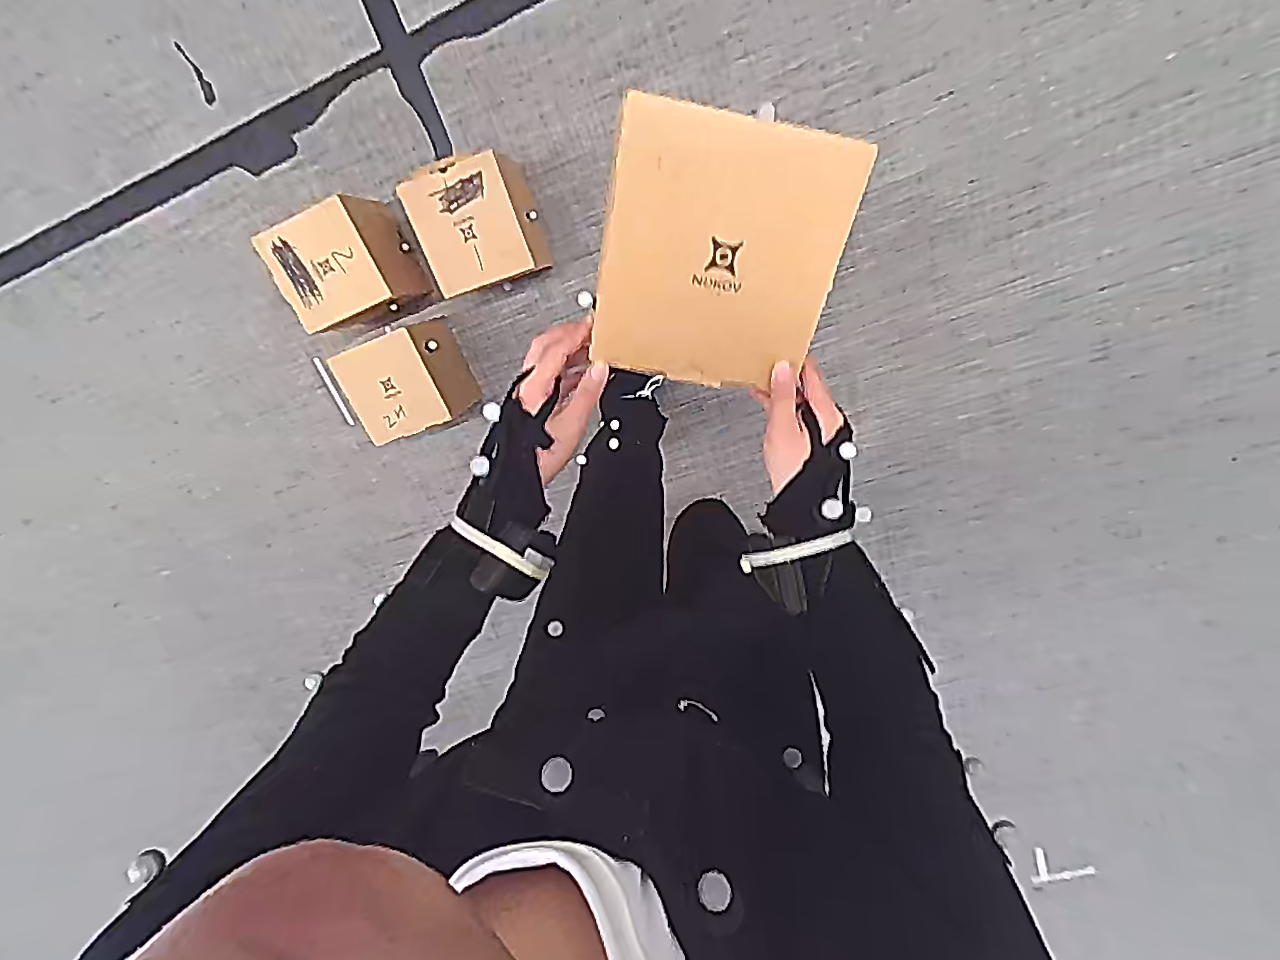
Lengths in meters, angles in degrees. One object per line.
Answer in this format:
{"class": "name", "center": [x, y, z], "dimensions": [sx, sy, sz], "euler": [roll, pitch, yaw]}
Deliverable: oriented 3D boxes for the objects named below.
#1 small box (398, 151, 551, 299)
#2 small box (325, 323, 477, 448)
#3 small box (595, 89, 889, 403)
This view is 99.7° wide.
{"class": "small box", "center": [-0.266, -0.422, 0.914], "dimensions": [0.168, 0.176, 0.179], "euler": [-15, 112, 9]}
{"class": "small box", "center": [-0.437, -0.187, 1.021], "dimensions": [0.168, 0.176, 0.179], "euler": [-18, 111, 11]}
{"class": "small box", "center": [0.056, -0.184, 0.433], "dimensions": [0.168, 0.176, 0.179], "euler": [7, 122, -8]}
